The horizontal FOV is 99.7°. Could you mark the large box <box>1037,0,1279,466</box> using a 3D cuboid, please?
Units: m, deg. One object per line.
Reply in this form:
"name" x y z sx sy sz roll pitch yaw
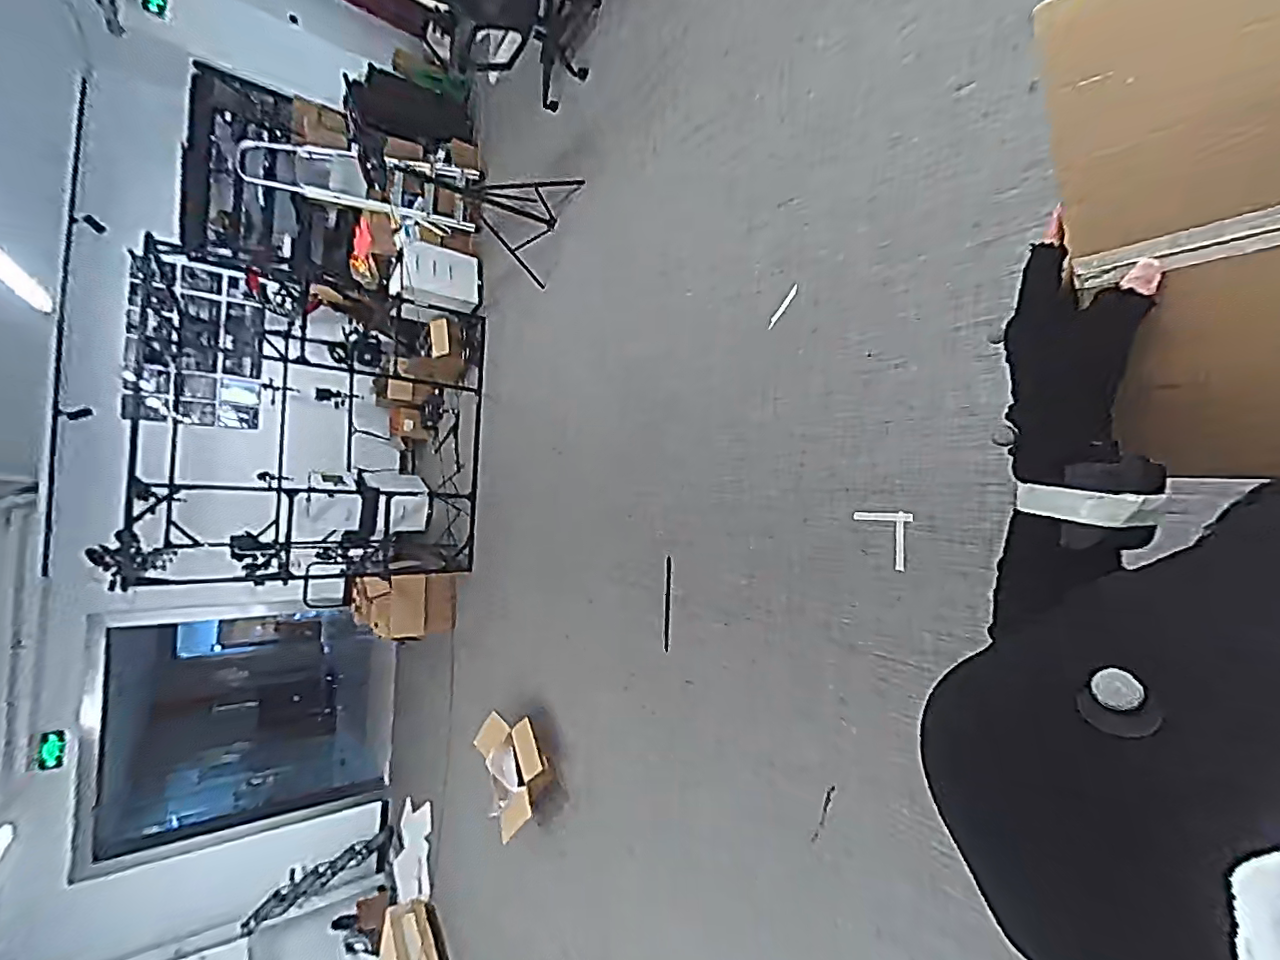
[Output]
"large box" 0.517 -0.216 0.282 0.408 0.320 0.320 2 122 55
